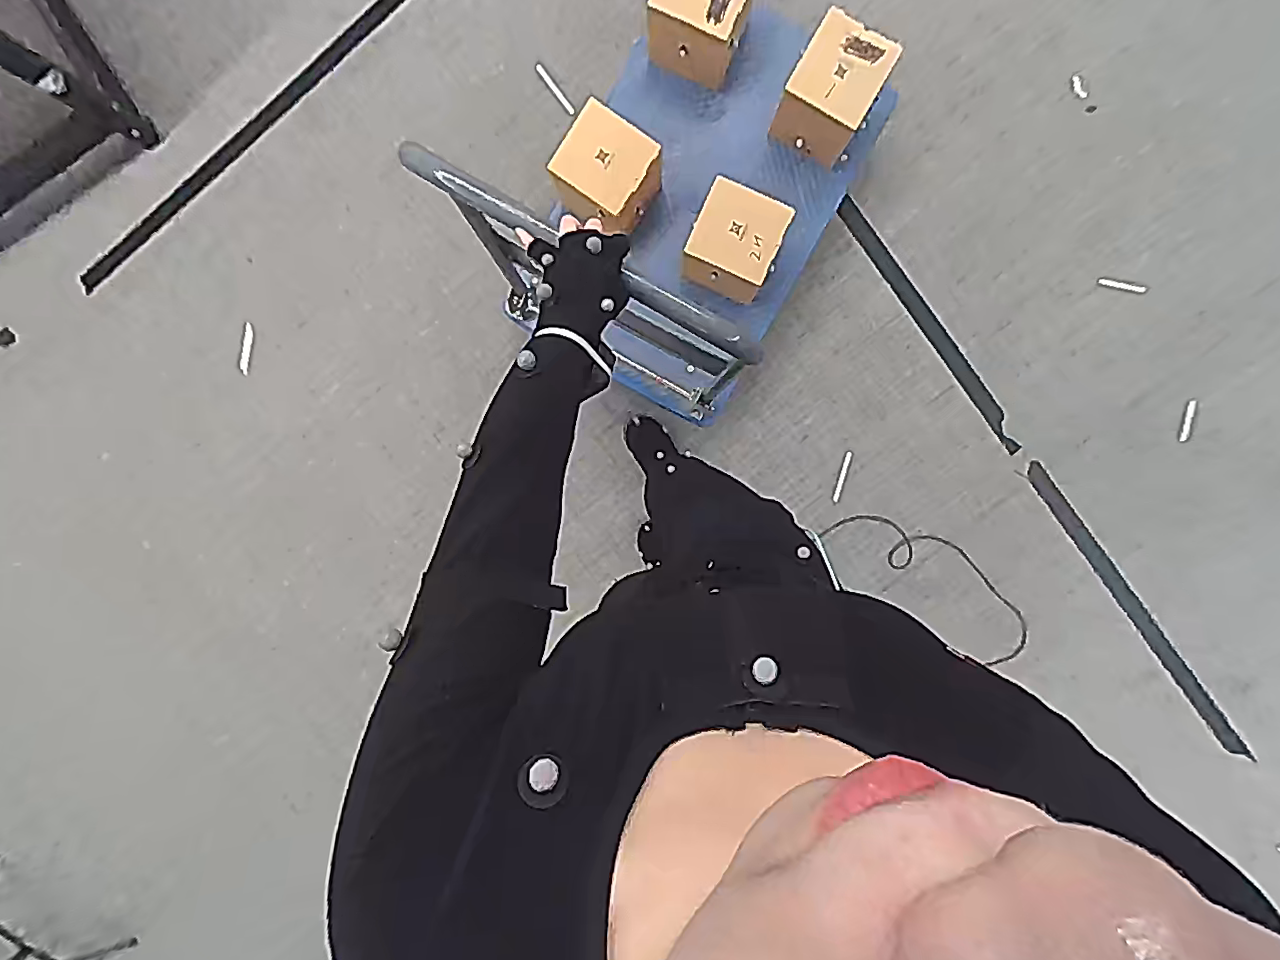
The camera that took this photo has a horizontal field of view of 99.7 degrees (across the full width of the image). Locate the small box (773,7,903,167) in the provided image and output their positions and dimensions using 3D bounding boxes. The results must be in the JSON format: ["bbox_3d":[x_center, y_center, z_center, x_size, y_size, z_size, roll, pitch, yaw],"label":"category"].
[{"bbox_3d":[0.400,-0.807,1.130,0.168,0.176,0.179,31,96,-1],"label":"small box"}]

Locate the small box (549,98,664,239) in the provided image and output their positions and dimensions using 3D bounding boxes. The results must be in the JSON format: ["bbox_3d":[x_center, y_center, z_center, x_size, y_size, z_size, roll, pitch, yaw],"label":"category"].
[{"bbox_3d":[-0.067,-0.654,1.161,0.179,0.176,0.168,34,95,-2],"label":"small box"}]

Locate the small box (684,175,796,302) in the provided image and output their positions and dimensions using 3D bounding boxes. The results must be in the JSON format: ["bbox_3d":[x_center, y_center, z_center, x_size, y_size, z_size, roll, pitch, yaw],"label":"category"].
[{"bbox_3d":[0.203,-0.506,1.162,0.179,0.176,0.168,25,95,0],"label":"small box"}]
